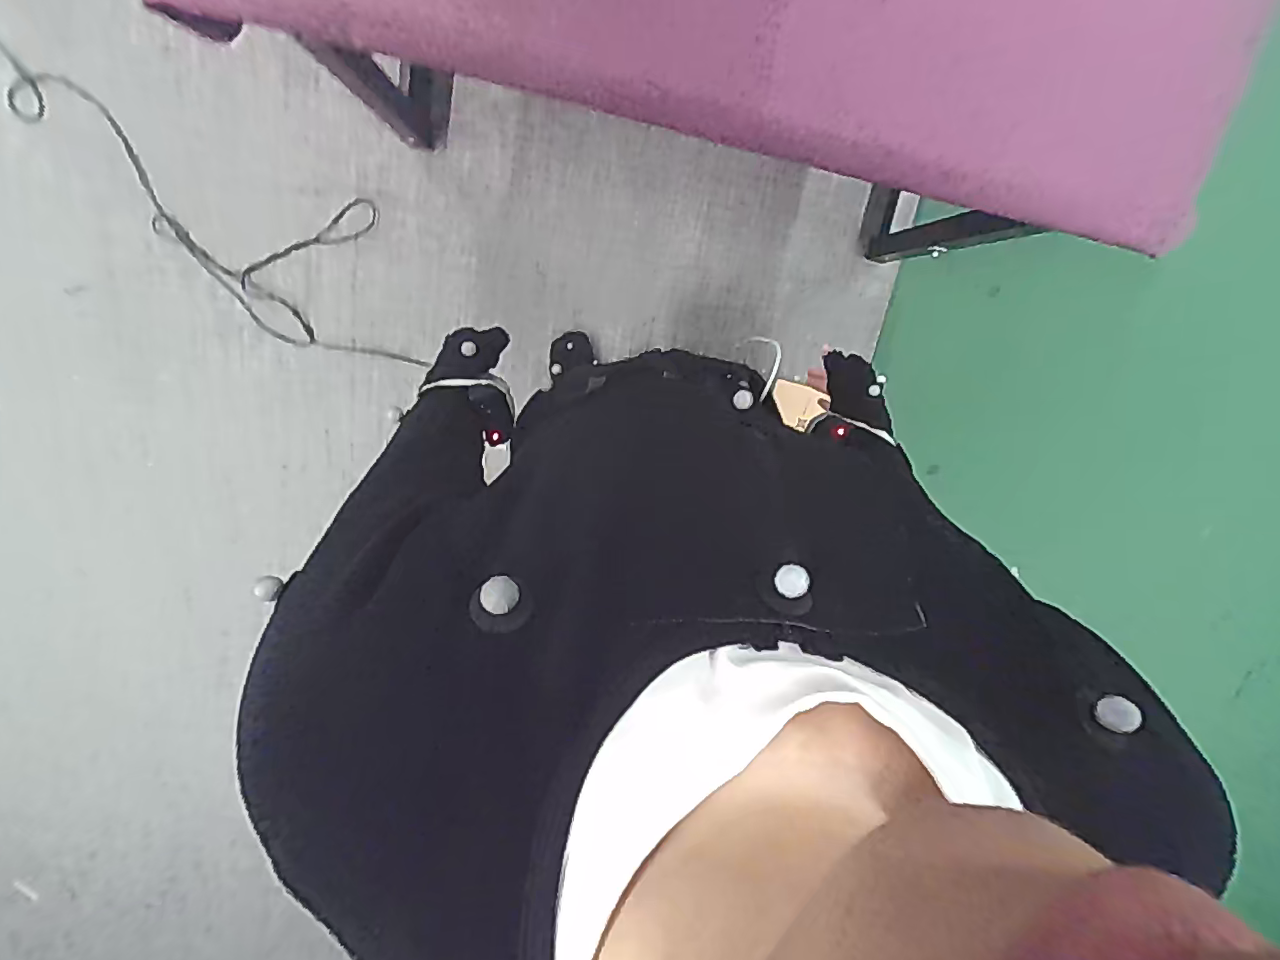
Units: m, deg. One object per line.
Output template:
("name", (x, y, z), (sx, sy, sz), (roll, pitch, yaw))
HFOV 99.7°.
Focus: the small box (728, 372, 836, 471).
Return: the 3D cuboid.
("small box", (0.316, -0.140, 1.245), (0.168, 0.176, 0.179), (13, 104, -10))
